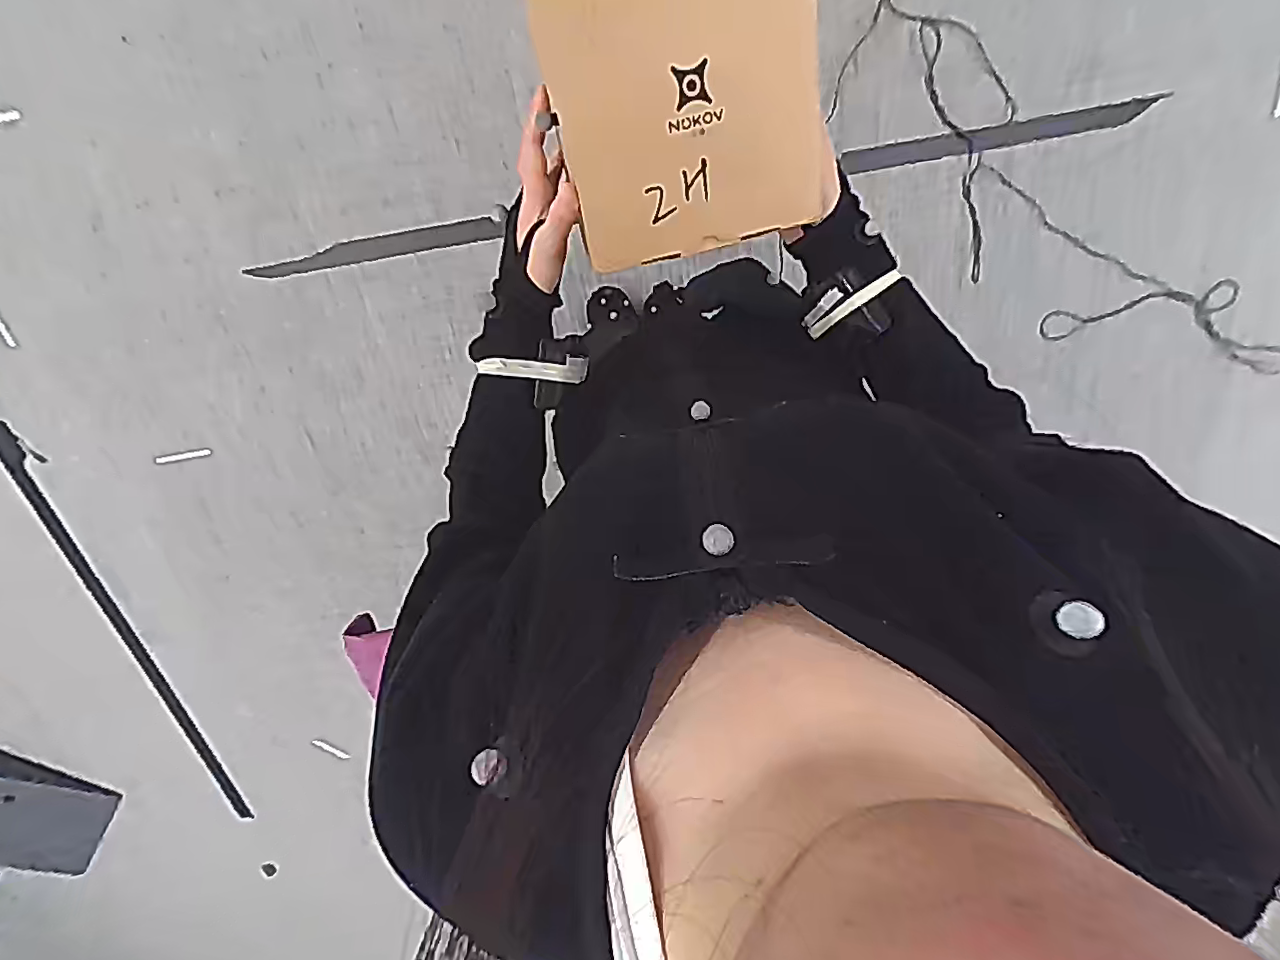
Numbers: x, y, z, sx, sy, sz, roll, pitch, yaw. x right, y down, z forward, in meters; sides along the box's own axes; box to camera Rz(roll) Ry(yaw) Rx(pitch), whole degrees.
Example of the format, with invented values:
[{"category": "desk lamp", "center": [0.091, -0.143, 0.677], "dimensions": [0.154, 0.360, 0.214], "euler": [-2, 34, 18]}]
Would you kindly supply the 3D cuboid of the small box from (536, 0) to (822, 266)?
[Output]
[{"category": "small box", "center": [0.022, -0.279, 0.406], "dimensions": [0.168, 0.176, 0.179], "euler": [-14, 122, -1]}]
